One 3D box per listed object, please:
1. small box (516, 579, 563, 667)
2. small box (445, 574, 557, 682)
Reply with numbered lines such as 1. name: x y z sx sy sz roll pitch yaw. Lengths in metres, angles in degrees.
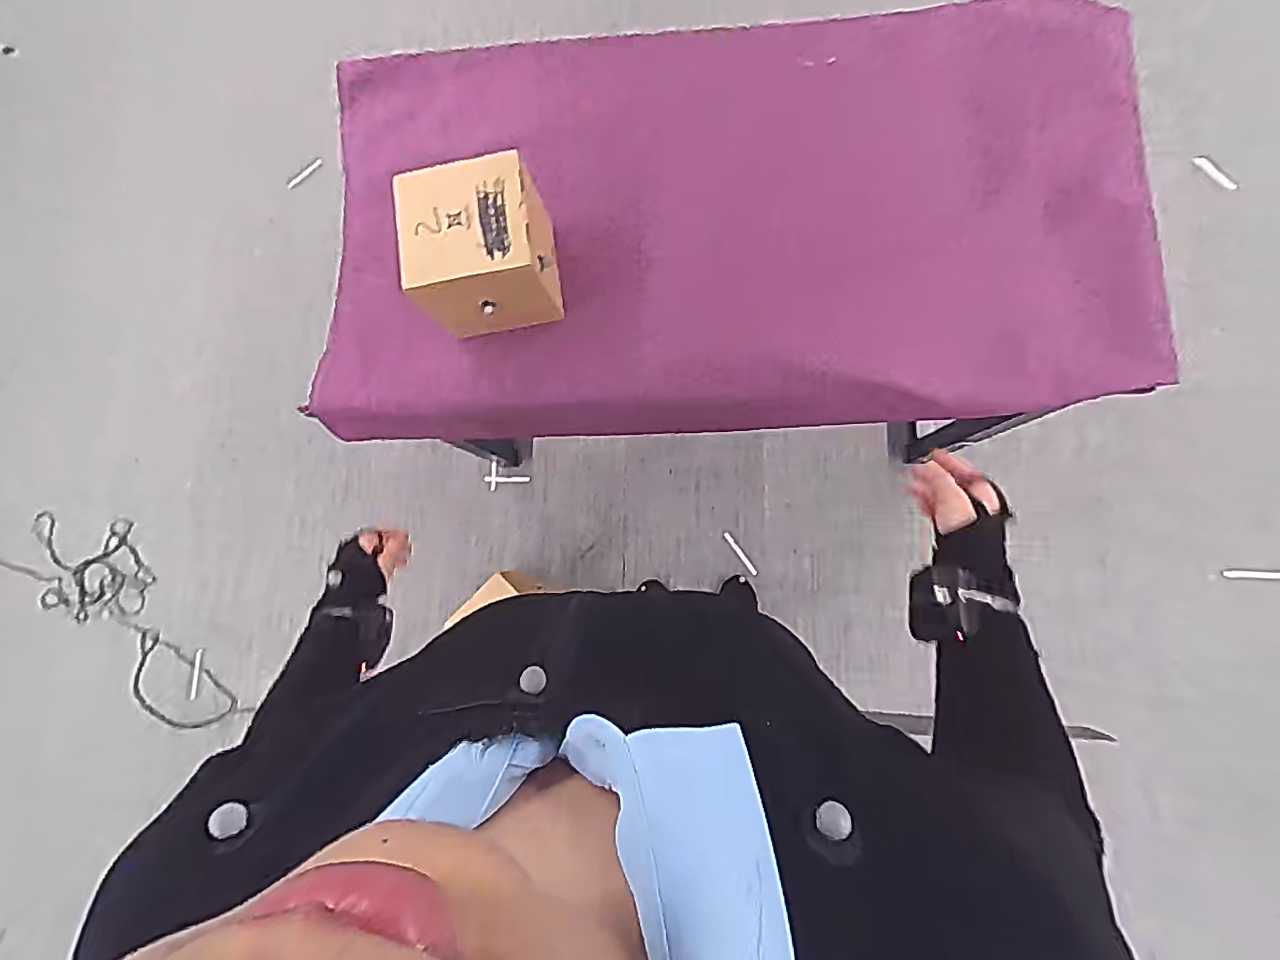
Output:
1. small box: -0.322 0.369 1.439 0.168 0.176 0.179 23 85 8
2. small box: -0.315 0.337 1.275 0.179 0.176 0.168 -45 80 -2
